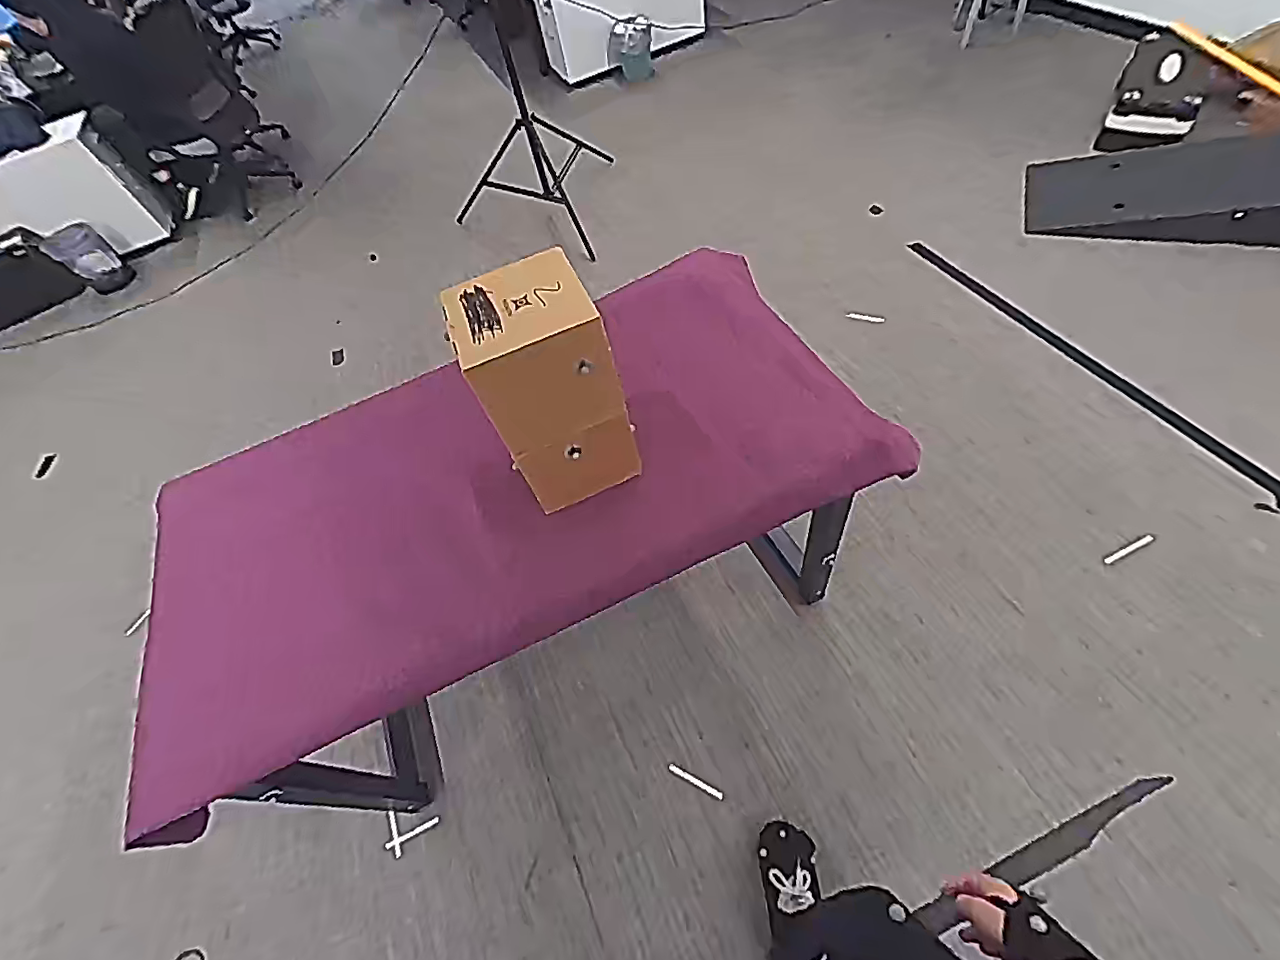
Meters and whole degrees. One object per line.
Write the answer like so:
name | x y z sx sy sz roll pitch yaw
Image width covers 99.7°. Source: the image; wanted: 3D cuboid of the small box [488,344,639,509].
small box | -0.118 -0.080 0.872 0.179 0.176 0.168 -23 56 -6
